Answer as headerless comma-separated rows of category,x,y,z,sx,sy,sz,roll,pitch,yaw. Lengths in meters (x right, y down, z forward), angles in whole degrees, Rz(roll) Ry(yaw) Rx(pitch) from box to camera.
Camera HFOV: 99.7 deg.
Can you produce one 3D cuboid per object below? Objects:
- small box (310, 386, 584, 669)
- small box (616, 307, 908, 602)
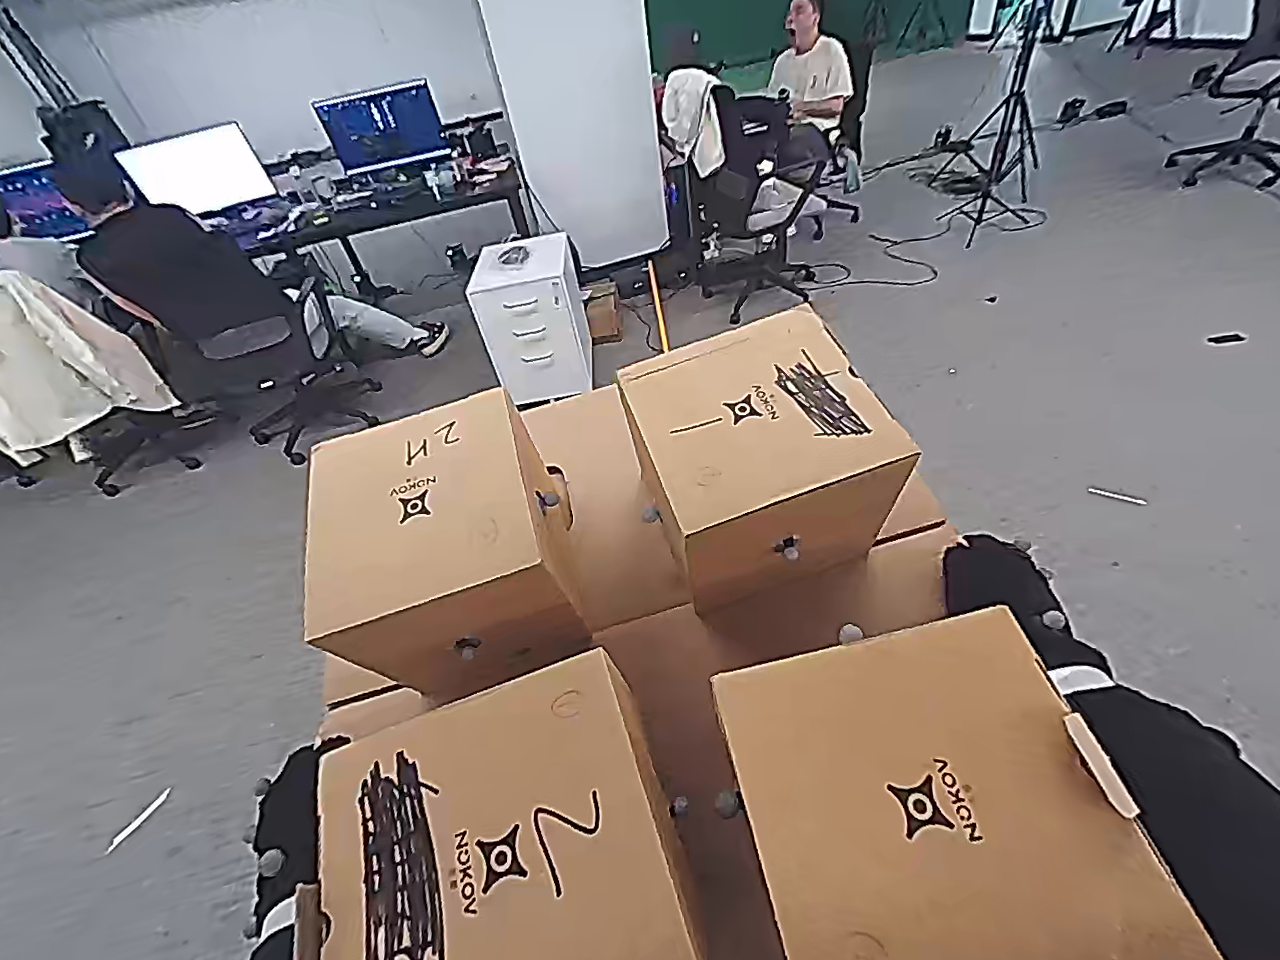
small box,-0.157,0.053,0.481,0.168,0.176,0.179,-17,57,-2
small box,0.094,-0.014,0.480,0.179,0.176,0.168,-20,58,-1
